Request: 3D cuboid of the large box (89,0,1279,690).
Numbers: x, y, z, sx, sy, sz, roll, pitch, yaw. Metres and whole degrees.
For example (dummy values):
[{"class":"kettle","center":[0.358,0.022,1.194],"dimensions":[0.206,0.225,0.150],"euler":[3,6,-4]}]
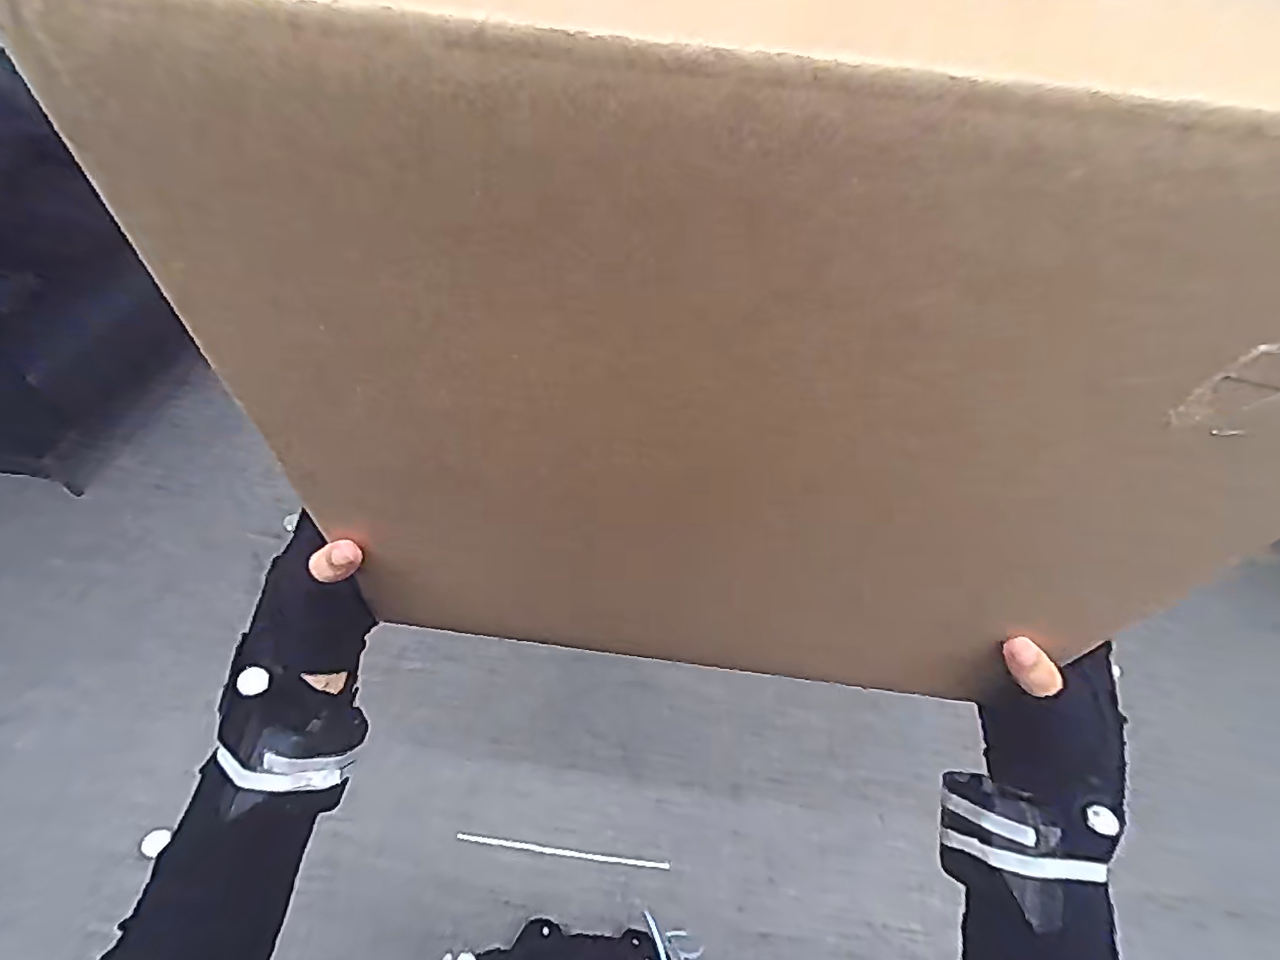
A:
[{"class":"large box","center":[0.064,-0.095,0.336],"dimensions":[0.408,0.320,0.320],"euler":[8,49,-1]}]
